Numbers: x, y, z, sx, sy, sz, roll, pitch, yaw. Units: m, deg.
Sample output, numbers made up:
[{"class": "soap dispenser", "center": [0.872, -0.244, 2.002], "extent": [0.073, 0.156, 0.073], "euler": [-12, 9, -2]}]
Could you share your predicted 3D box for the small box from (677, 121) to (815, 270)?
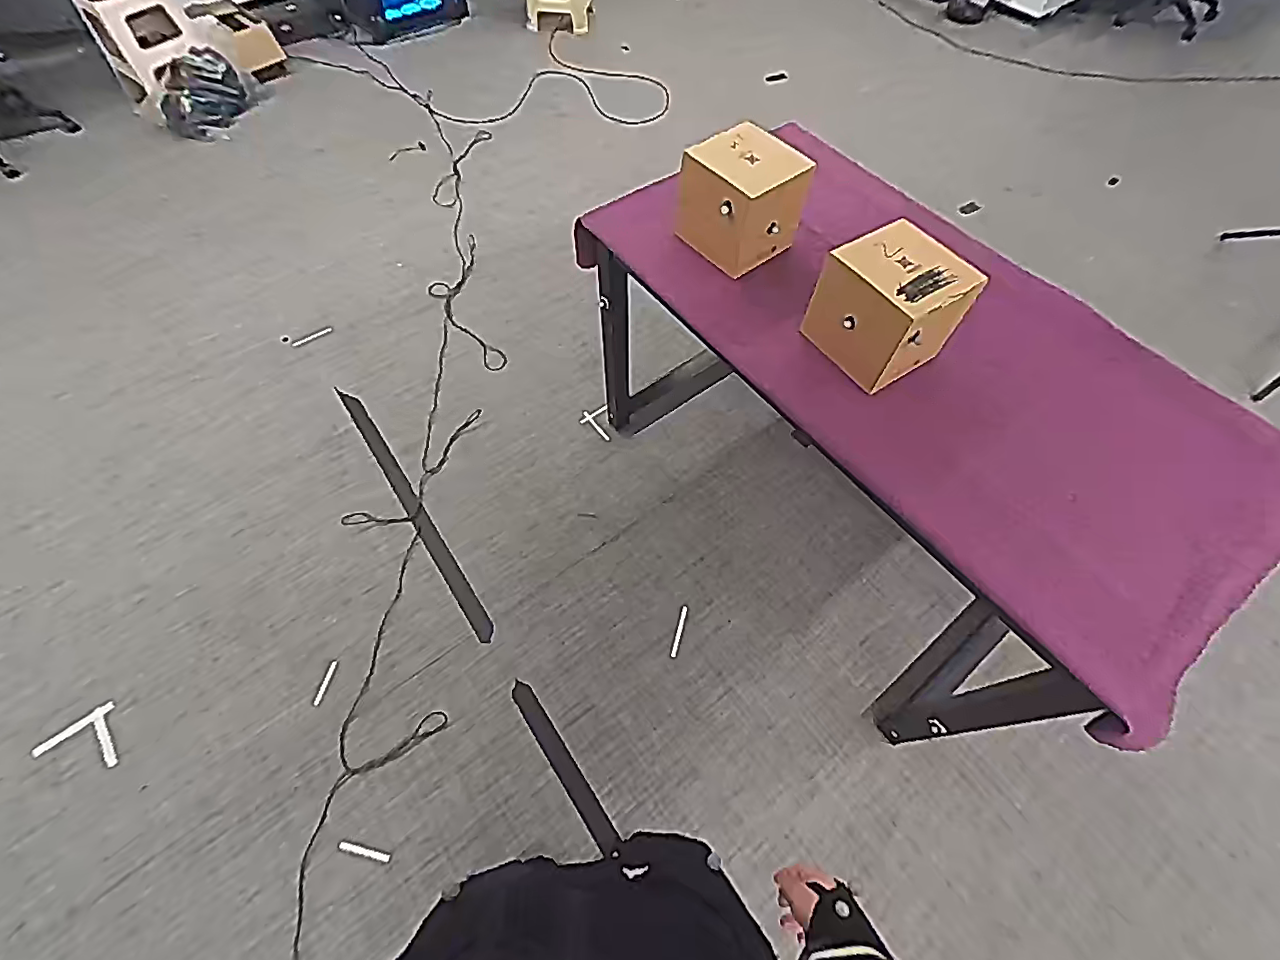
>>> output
[{"class": "small box", "center": [0.188, -0.523, 1.014], "extent": [0.168, 0.176, 0.179], "euler": [-35, 67, -20]}]
